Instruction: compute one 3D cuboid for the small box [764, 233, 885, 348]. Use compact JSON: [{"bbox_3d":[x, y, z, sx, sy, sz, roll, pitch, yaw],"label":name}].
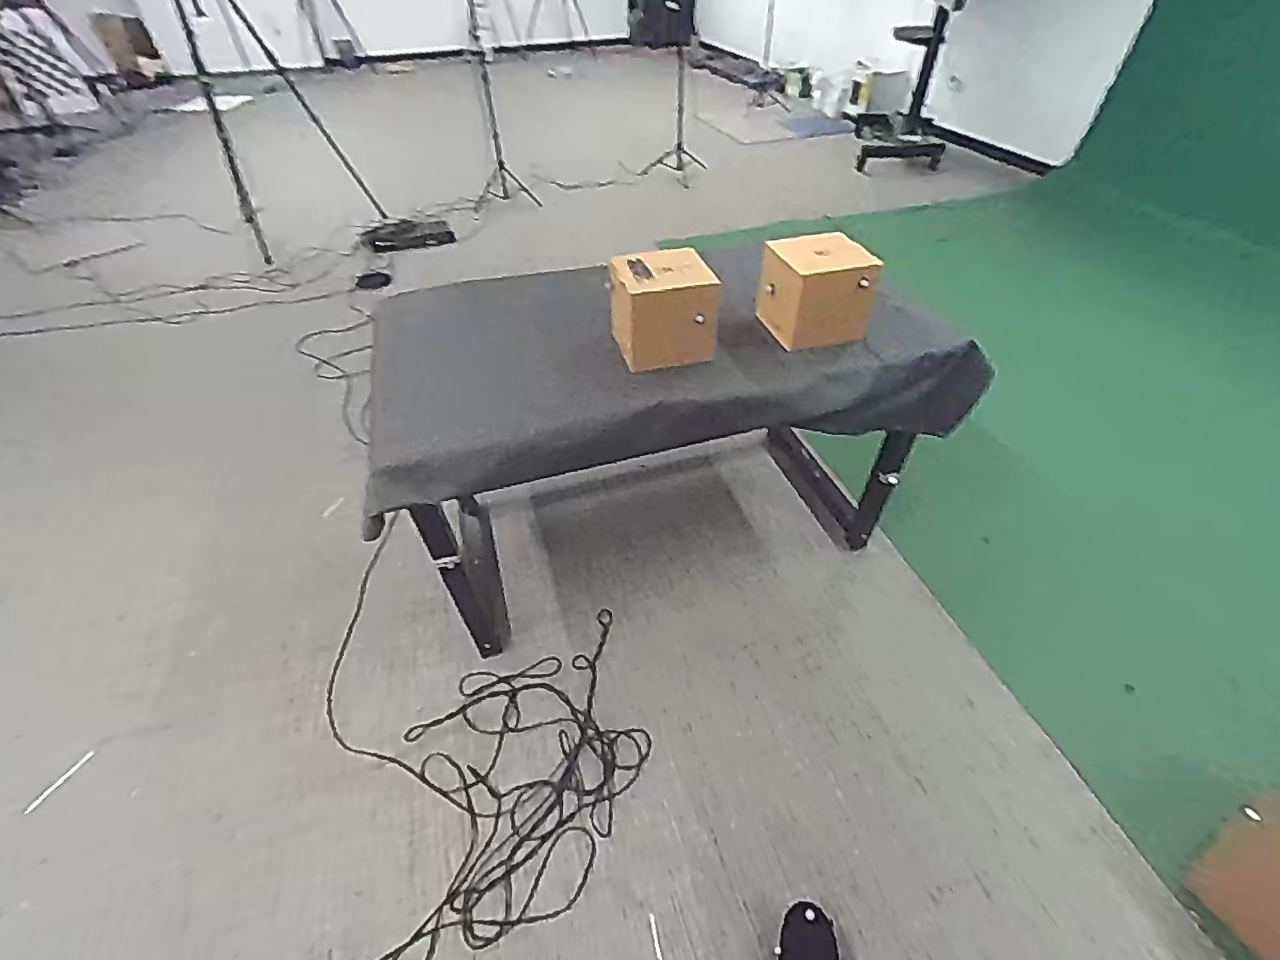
[{"bbox_3d":[0.369,-0.391,1.126,0.179,0.176,0.168,-12,46,-10],"label":"small box"}]
